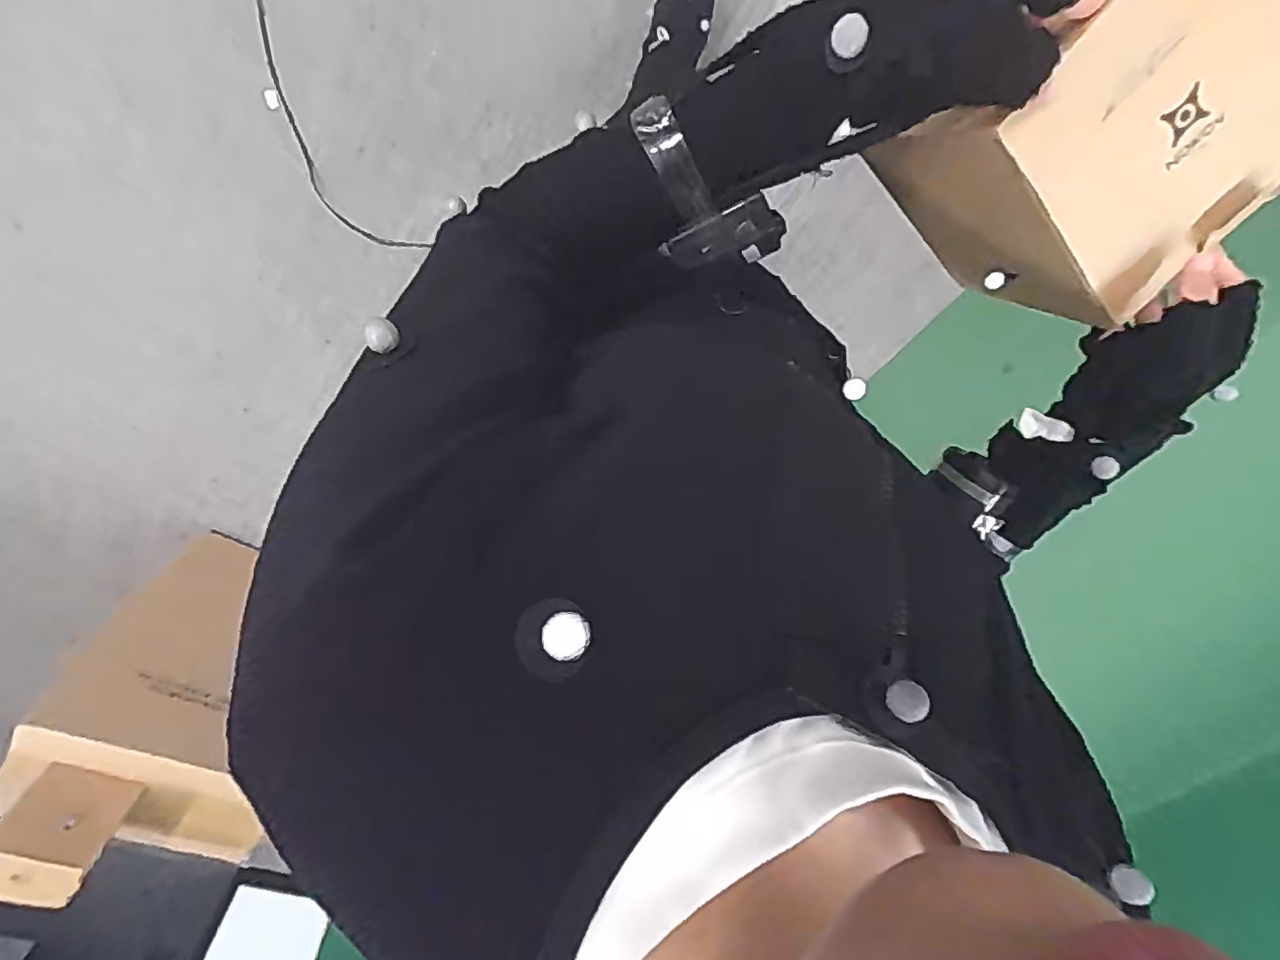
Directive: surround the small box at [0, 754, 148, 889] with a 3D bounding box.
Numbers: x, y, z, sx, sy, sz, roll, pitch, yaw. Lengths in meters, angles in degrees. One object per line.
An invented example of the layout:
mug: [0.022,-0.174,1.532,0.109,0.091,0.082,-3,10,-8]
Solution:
small box: [-1.183,0.701,1.117,0.179,0.176,0.168,32,110,-24]
